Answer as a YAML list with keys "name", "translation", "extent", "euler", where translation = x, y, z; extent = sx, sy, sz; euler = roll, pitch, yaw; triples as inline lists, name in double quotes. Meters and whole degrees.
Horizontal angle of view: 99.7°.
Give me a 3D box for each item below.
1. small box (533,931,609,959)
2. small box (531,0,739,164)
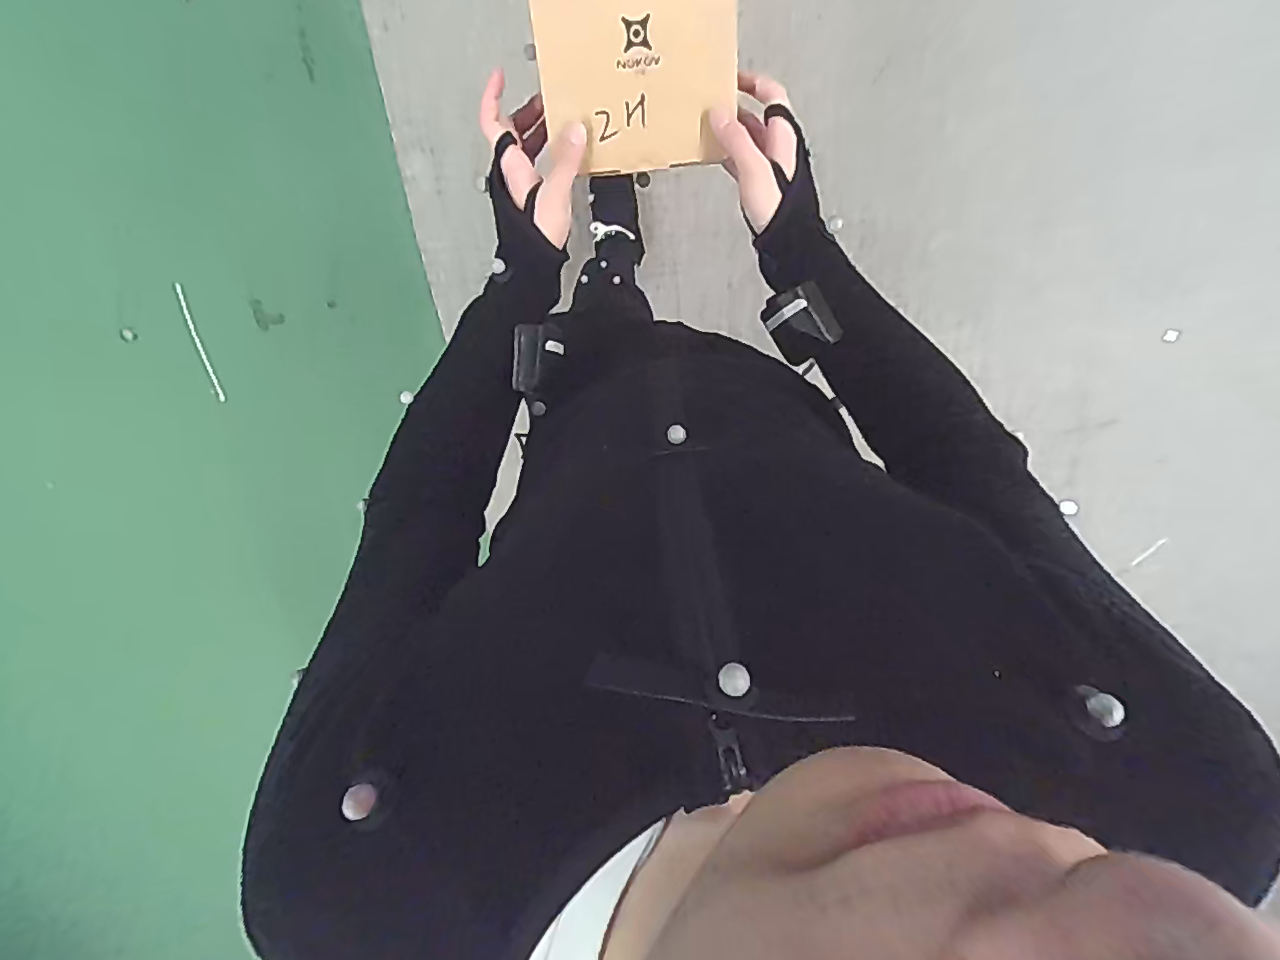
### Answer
- name: "small box"
  translation: [-0.160, 1.217, 1.279]
  extent: [0.168, 0.176, 0.179]
  euler: [-9, 112, 0]
- name: "small box"
  translation: [-0.004, -0.399, 0.498]
  extent: [0.168, 0.176, 0.179]
  euler: [-3, 120, 2]
